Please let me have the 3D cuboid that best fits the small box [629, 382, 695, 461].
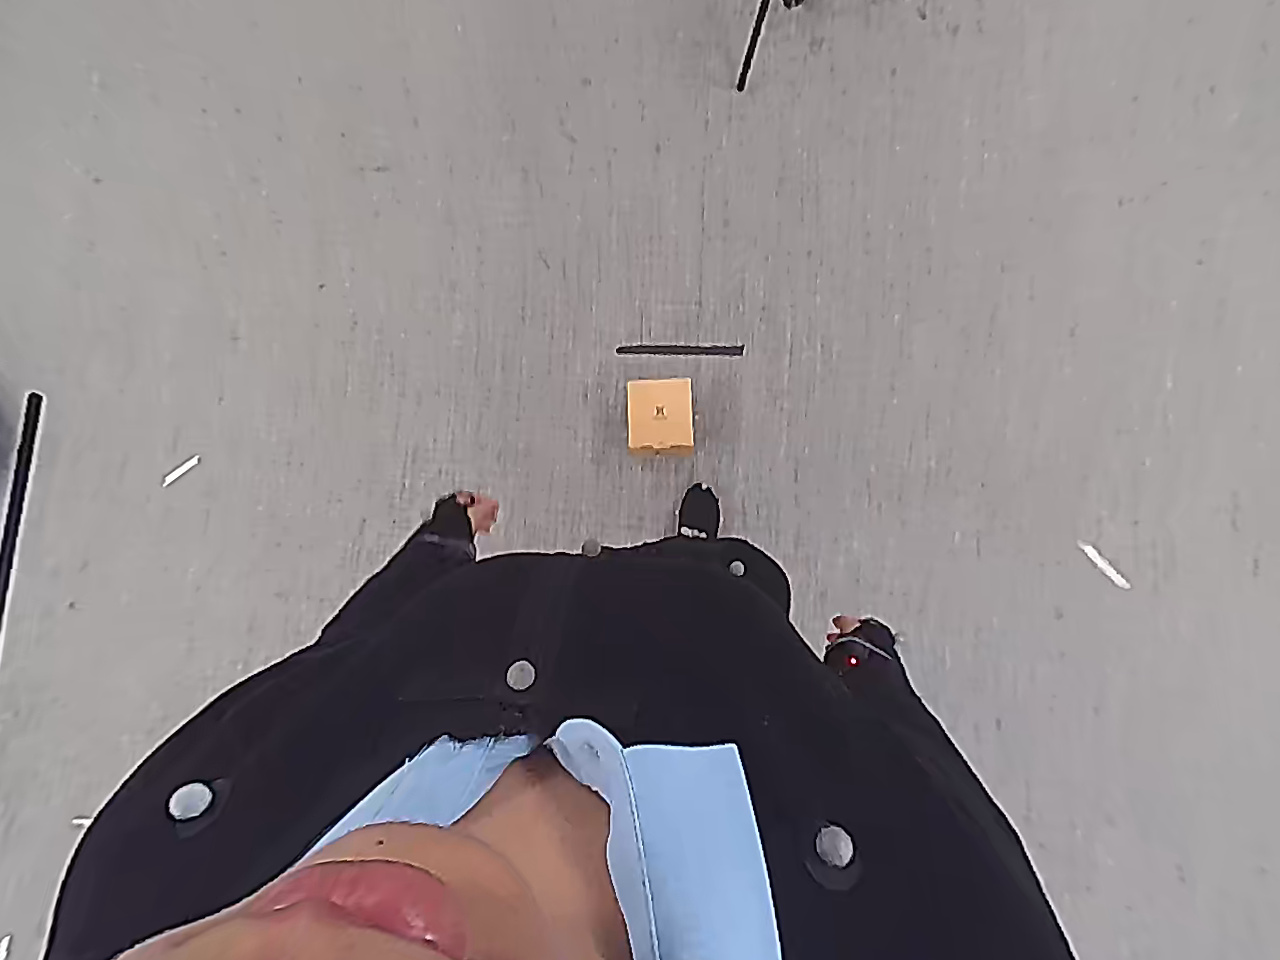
[{"bbox_3d":[0.059,-0.151,1.447,0.168,0.176,0.179,-3,84,4],"label":"small box"}]
